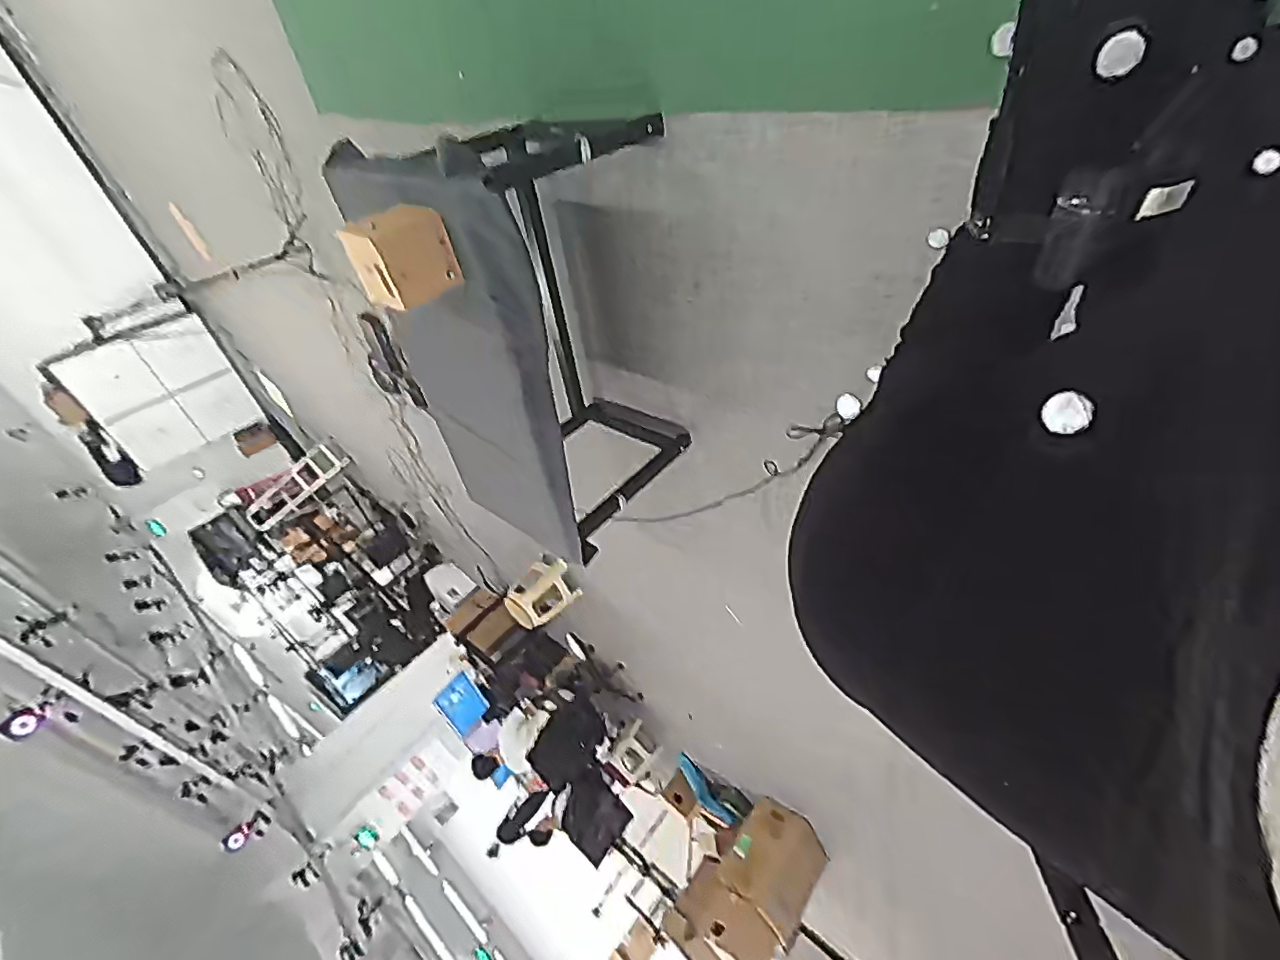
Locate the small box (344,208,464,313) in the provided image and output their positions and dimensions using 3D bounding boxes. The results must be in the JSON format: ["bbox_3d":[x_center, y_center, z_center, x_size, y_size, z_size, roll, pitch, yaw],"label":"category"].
[{"bbox_3d":[-0.531,-0.512,1.248,0.179,0.176,0.168,27,144,34],"label":"small box"}]
